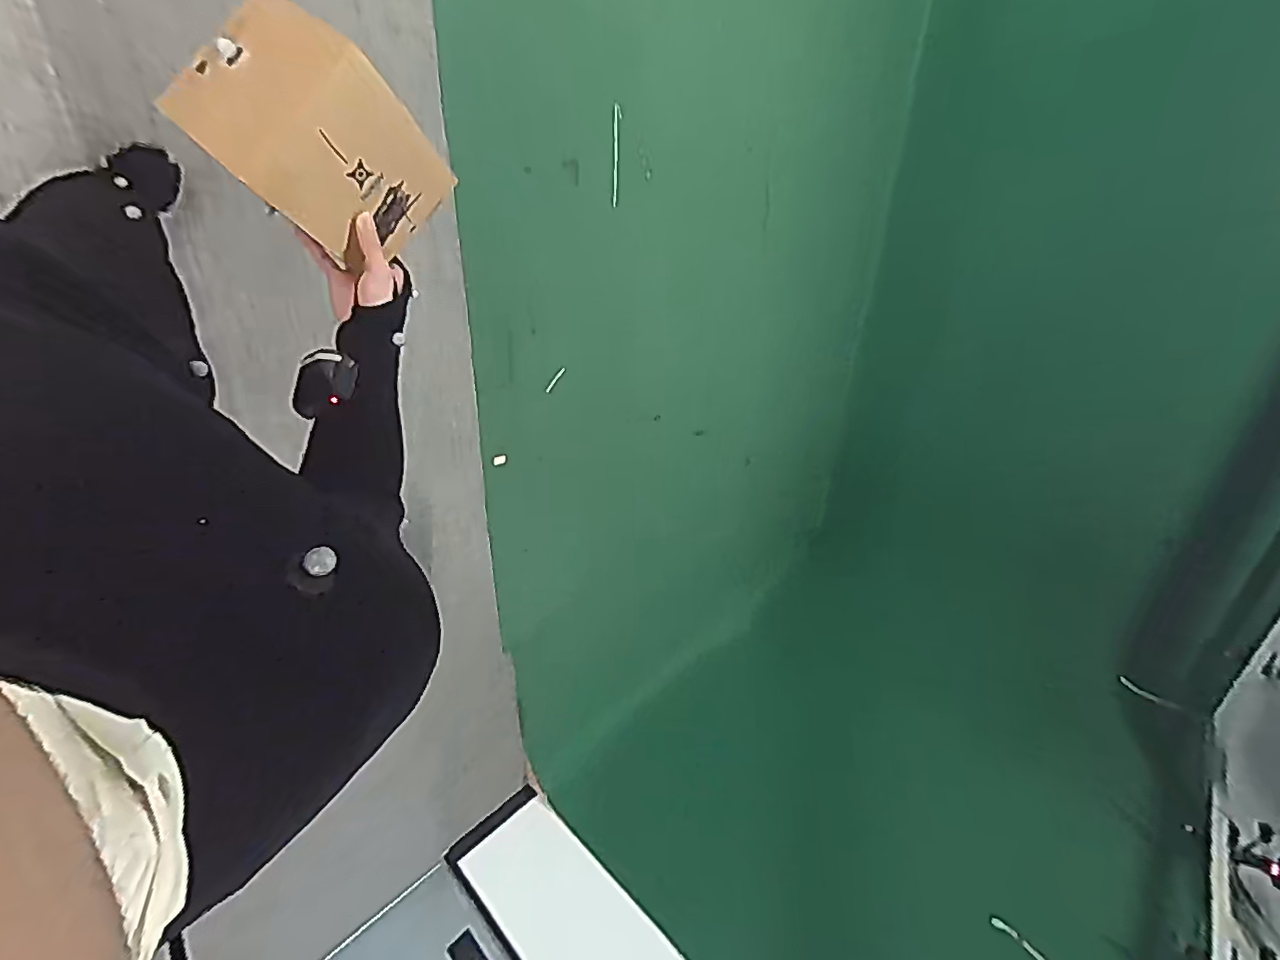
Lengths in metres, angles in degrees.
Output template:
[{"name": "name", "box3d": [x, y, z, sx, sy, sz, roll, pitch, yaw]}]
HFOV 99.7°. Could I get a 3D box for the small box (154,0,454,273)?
[{"name": "small box", "box3d": [-0.348, -0.370, 0.580, 0.168, 0.176, 0.179, -51, 162, 0]}]
